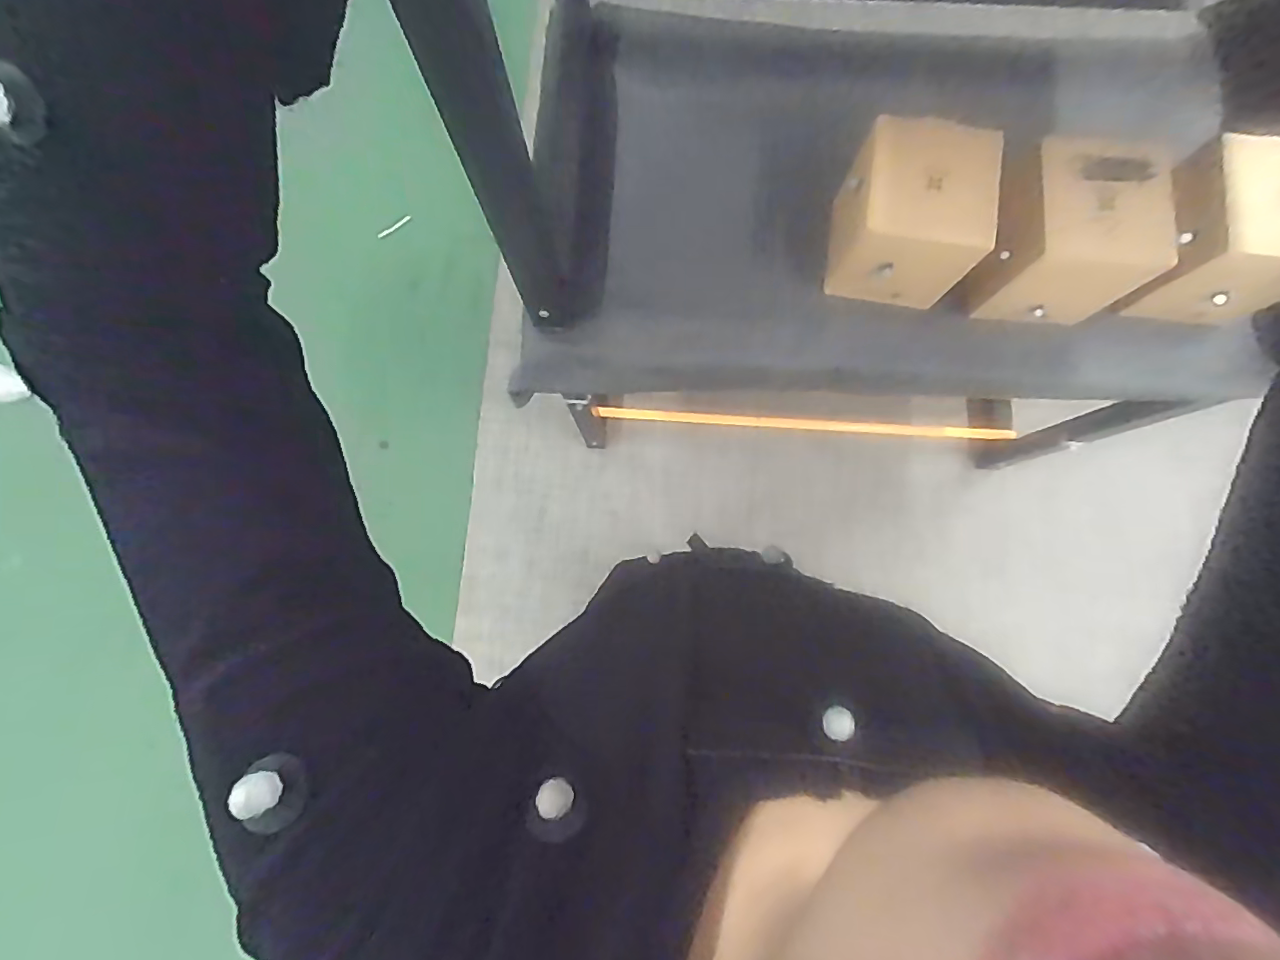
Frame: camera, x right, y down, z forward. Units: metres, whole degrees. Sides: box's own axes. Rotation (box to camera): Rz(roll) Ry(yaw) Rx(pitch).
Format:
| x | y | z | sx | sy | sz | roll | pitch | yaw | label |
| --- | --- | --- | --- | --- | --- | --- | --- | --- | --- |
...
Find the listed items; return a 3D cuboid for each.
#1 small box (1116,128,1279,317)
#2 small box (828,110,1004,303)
| x | y | z | sx | sy | sz | roll | pitch | yaw | label |
| --- | --- | --- | --- | --- | --- | --- | --- | --- | --- |
| 0.823 | -0.350 | 0.764 | 0.168 | 0.176 | 0.179 | 6 | 80 | 2 | small box |
| 0.383 | -0.379 | 0.777 | 0.168 | 0.176 | 0.179 | 10 | 80 | 2 | small box |
